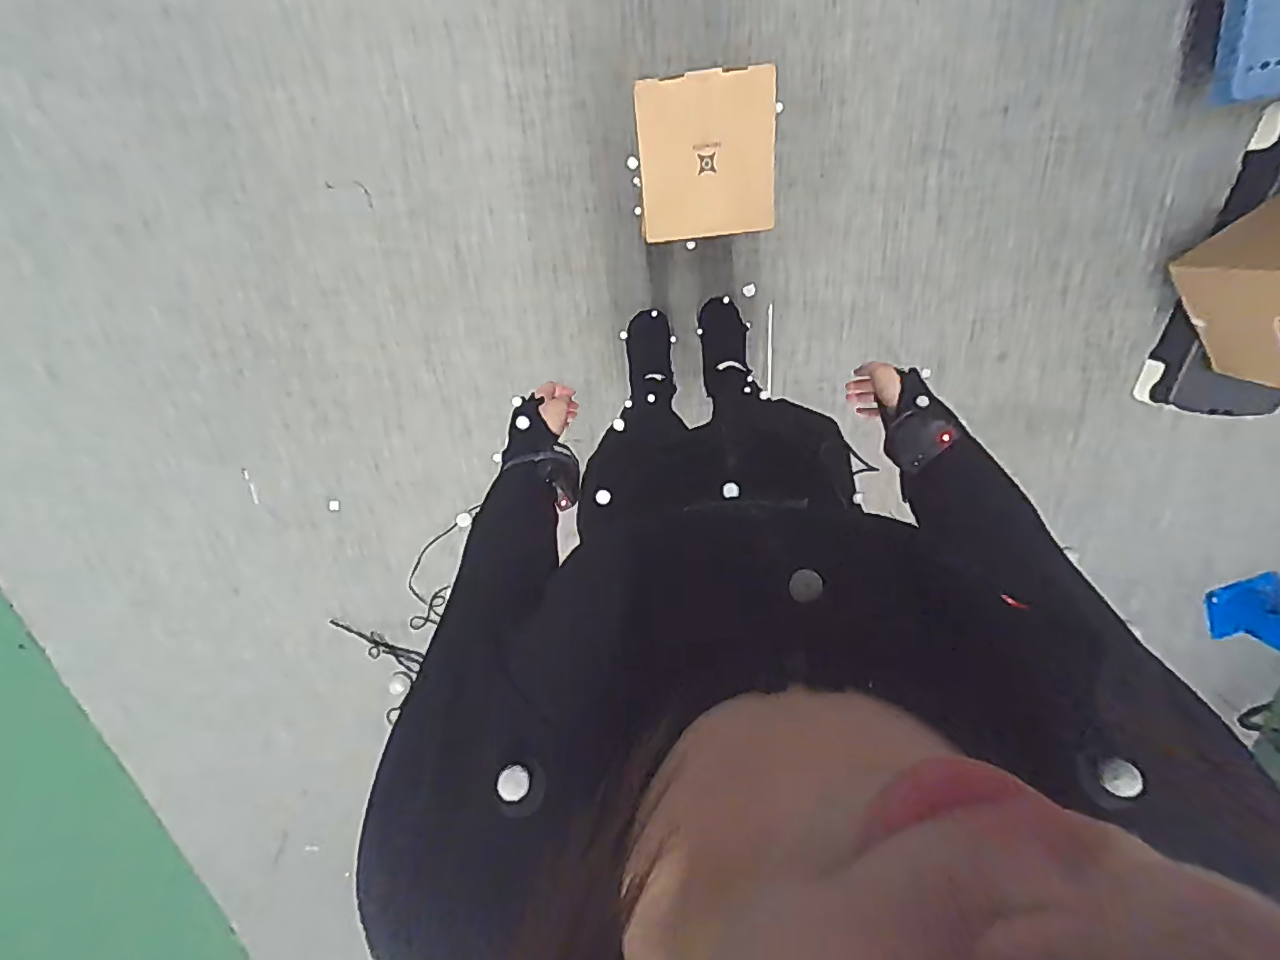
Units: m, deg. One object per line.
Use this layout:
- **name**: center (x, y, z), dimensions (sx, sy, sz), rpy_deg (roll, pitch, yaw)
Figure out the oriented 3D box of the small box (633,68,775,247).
- **small box**: center (0.083, -0.418, 0.726), dimensions (0.168, 0.176, 0.179), rpy_deg (-4, 114, 4)
